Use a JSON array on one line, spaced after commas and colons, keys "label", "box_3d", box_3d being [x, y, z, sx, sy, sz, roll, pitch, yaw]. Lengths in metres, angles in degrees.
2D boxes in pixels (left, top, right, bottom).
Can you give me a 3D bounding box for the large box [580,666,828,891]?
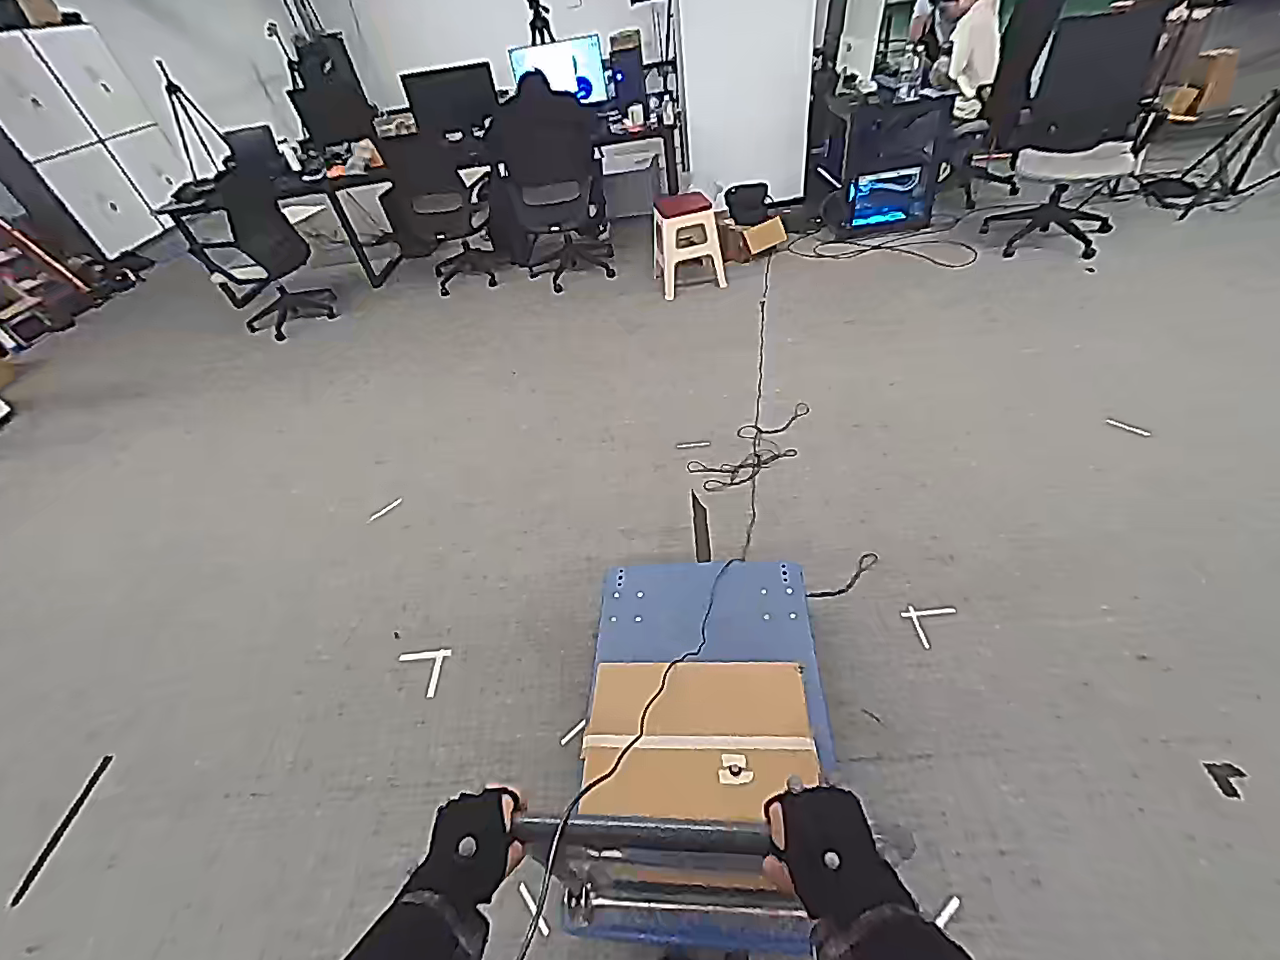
[{"label": "large box", "box_3d": [0.122, 0.585, 1.066, 0.408, 0.320, 0.320, -3, 44, 8]}]
